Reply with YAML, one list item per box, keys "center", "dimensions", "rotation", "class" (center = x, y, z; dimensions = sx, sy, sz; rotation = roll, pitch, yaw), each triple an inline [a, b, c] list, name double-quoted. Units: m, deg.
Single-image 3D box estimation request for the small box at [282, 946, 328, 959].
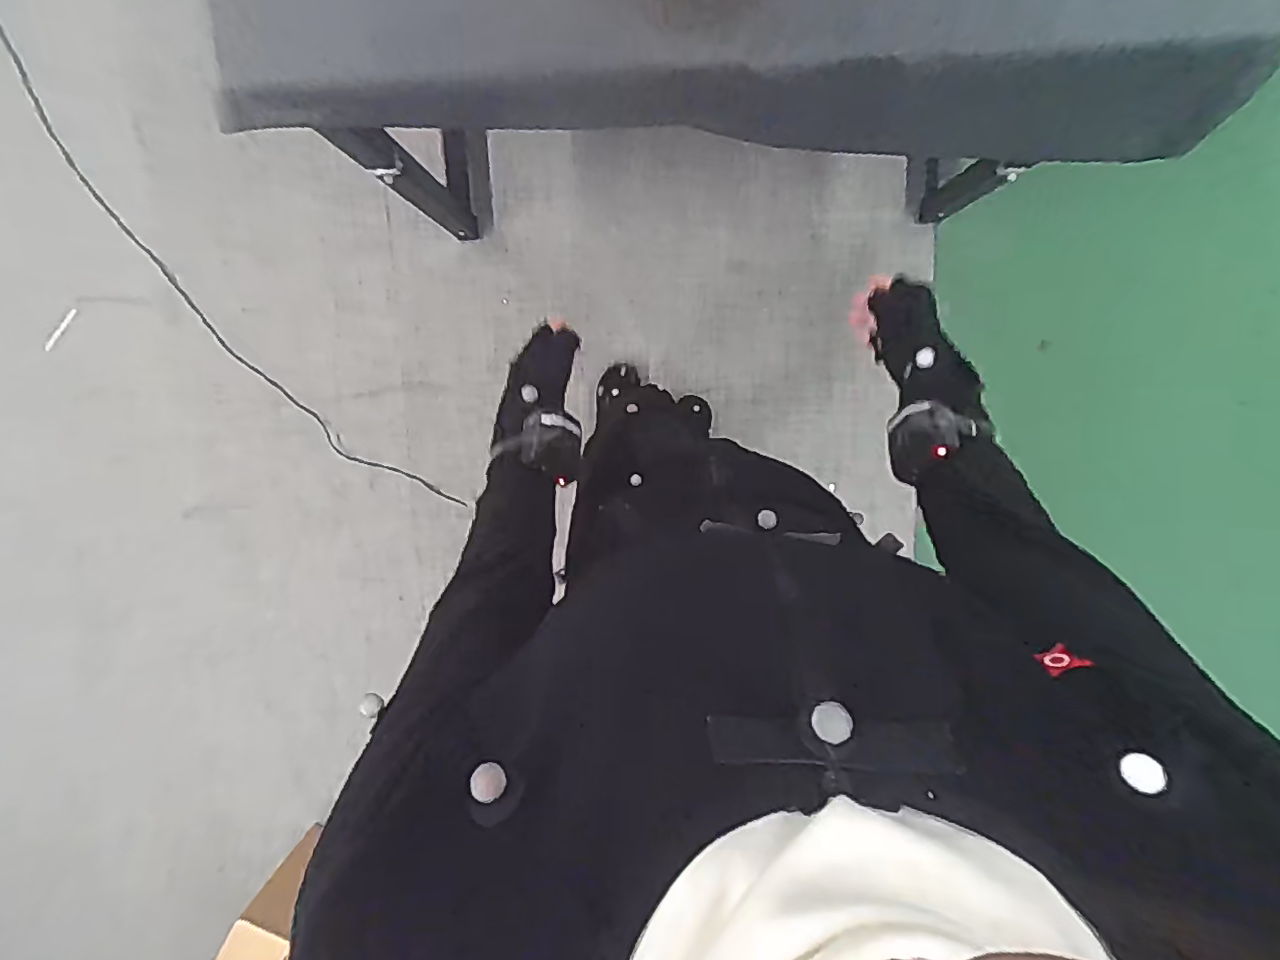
- center: [-0.826, 1.274, 1.288]
  dimensions: [0.179, 0.176, 0.168]
  rotation: [24, 100, -1]
  class: "small box"
